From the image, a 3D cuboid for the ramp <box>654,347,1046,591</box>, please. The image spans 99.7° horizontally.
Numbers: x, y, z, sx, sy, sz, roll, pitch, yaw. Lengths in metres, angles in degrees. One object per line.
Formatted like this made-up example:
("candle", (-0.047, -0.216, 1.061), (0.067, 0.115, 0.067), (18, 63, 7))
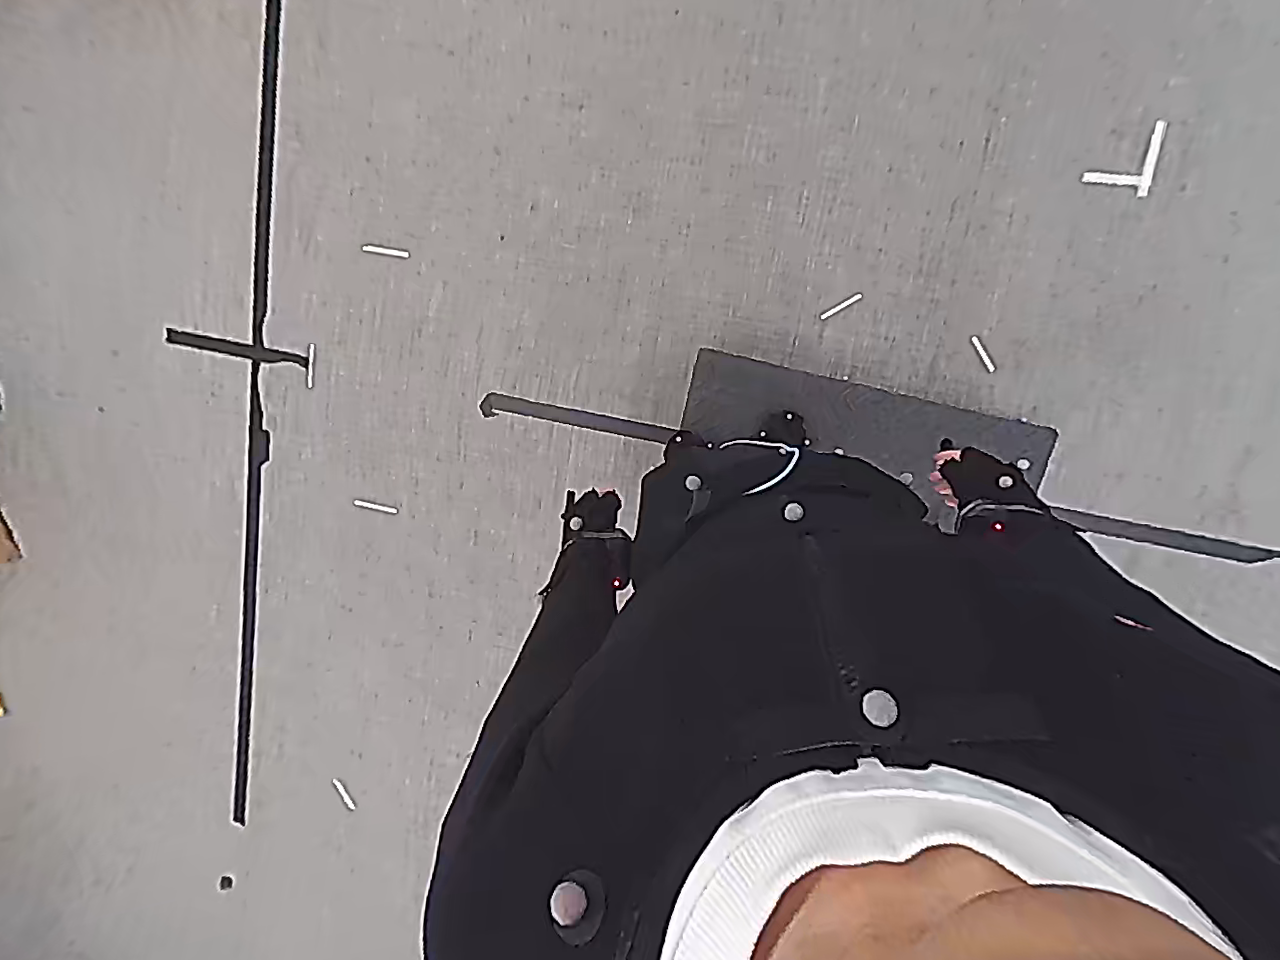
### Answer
("ramp", (0.569, -0.013, 1.465), (0.991, 0.206, 0.509), (12, 99, 5))
